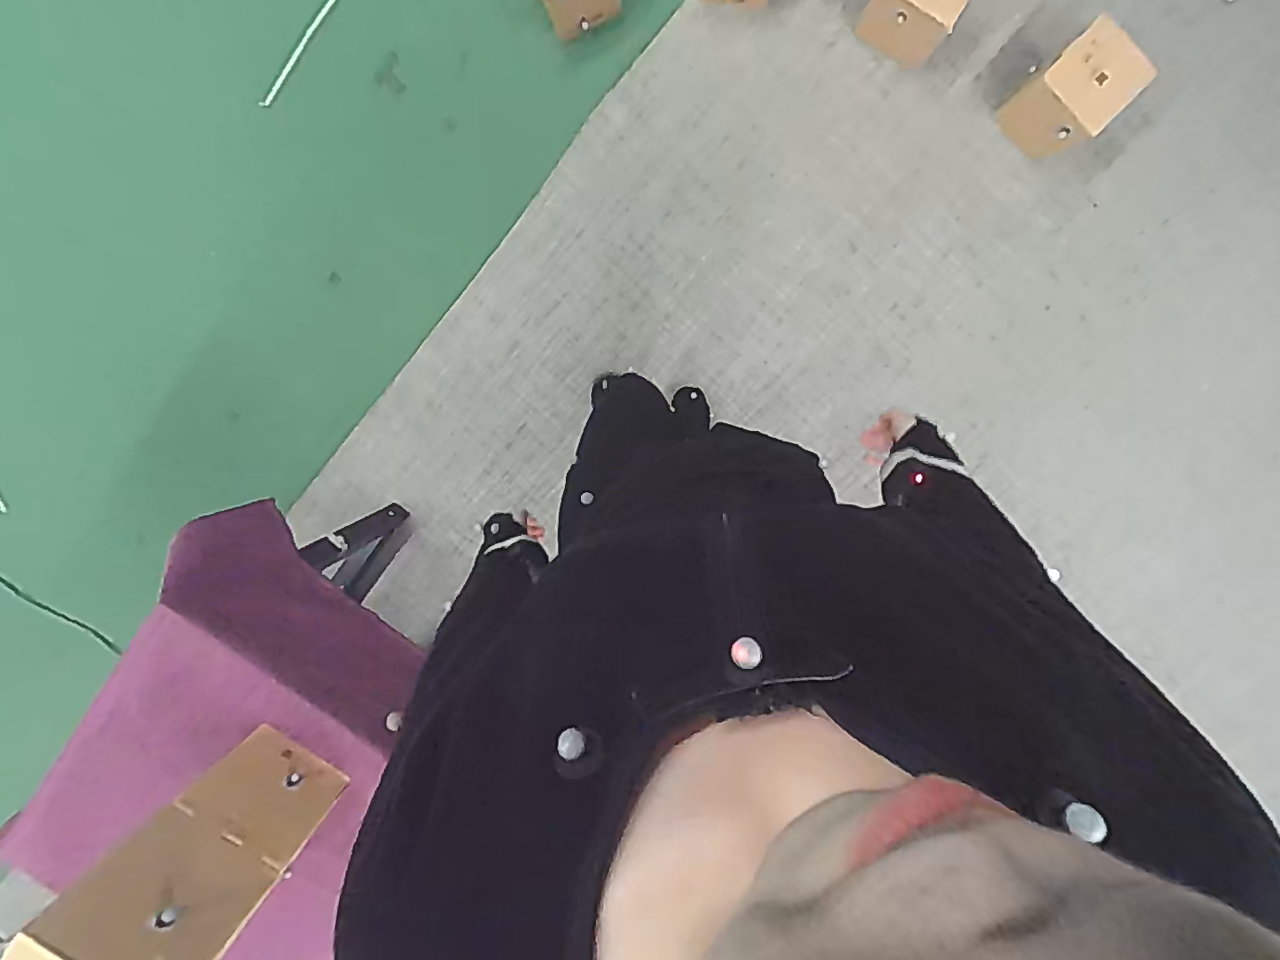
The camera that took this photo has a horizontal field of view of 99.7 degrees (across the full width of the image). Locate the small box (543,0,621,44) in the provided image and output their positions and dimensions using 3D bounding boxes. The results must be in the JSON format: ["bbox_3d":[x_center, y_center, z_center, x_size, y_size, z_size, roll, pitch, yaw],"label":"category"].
[{"bbox_3d":[-0.152,-1.140,1.203,0.168,0.176,0.179,-23,99,7],"label":"small box"}]

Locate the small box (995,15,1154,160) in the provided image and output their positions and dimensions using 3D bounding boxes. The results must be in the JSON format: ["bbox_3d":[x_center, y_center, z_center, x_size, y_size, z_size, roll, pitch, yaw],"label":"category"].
[{"bbox_3d":[0.951,-0.851,1.201,0.179,0.176,0.168,43,99,-5],"label":"small box"}]

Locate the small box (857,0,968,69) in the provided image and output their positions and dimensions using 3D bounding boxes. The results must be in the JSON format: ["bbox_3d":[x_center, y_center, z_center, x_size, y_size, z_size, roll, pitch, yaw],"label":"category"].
[{"bbox_3d":[0.610,-1.055,1.179,0.179,0.176,0.168,30,101,-4],"label":"small box"}]

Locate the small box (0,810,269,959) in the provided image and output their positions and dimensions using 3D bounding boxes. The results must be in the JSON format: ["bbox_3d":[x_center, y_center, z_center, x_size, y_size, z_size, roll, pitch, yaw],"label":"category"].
[{"bbox_3d":[-0.593,0.540,0.635,0.179,0.176,0.168,36,100,-5],"label":"small box"}]

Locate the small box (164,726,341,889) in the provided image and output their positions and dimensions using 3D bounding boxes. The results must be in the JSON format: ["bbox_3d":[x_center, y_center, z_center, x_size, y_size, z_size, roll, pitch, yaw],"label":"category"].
[{"bbox_3d":[-0.587,0.512,0.798,0.168,0.176,0.179,37,100,-4],"label":"small box"}]
